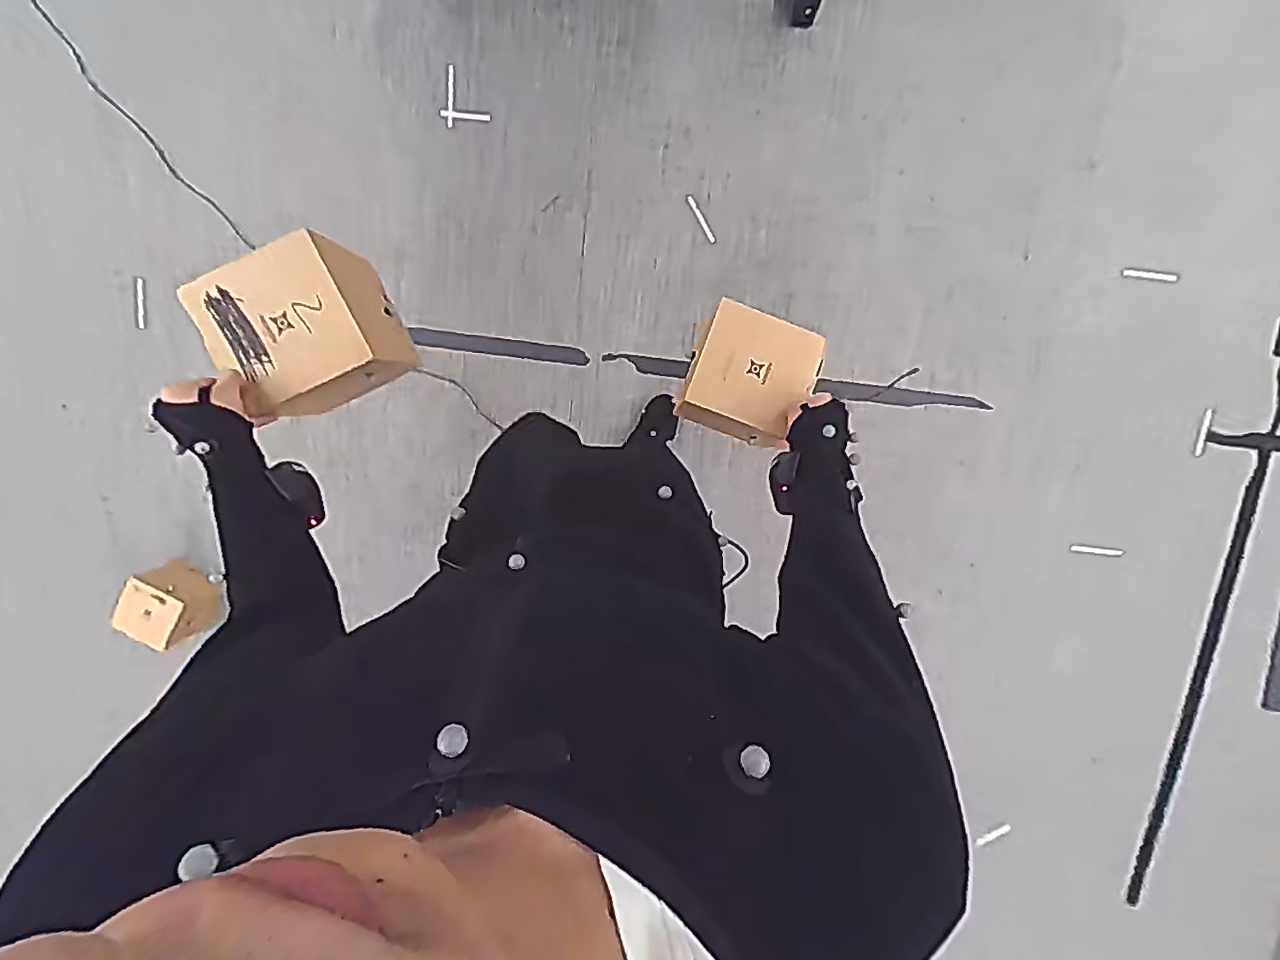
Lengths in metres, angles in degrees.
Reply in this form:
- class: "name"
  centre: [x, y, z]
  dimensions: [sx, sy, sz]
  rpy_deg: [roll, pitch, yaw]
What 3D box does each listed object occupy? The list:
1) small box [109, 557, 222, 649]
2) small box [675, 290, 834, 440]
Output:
- class: "small box"
  centre: [-1.413, 0.363, 1.623]
  dimensions: [0.168, 0.176, 0.179]
  rpy_deg: [30, 99, -4]
- class: "small box"
  centre: [0.170, -0.170, 0.862]
  dimensions: [0.179, 0.176, 0.168]
  rpy_deg: [21, 89, -3]
